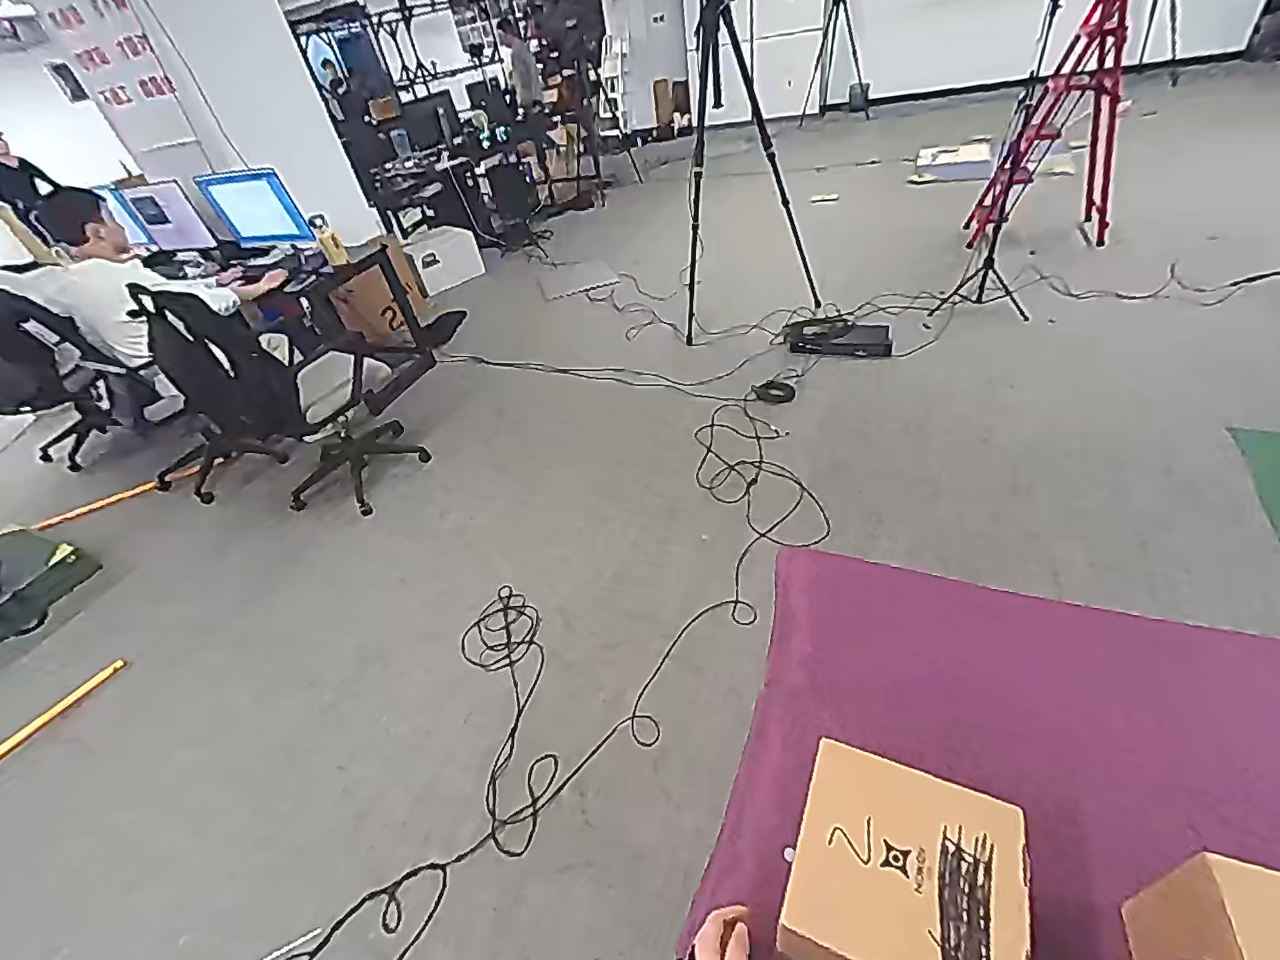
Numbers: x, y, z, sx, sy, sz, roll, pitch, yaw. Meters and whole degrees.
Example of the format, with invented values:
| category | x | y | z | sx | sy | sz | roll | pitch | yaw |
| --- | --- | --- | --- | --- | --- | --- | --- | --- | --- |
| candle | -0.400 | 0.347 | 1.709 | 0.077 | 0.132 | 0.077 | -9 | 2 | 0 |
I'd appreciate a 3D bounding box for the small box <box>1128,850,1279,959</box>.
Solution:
| category | x | y | z | sx | sy | sz | roll | pitch | yaw |
| --- | --- | --- | --- | --- | --- | --- | --- | --- | --- |
| small box | 0.509 | 0.424 | 0.398 | 0.168 | 0.176 | 0.179 | 7 | 42 | 21 |
